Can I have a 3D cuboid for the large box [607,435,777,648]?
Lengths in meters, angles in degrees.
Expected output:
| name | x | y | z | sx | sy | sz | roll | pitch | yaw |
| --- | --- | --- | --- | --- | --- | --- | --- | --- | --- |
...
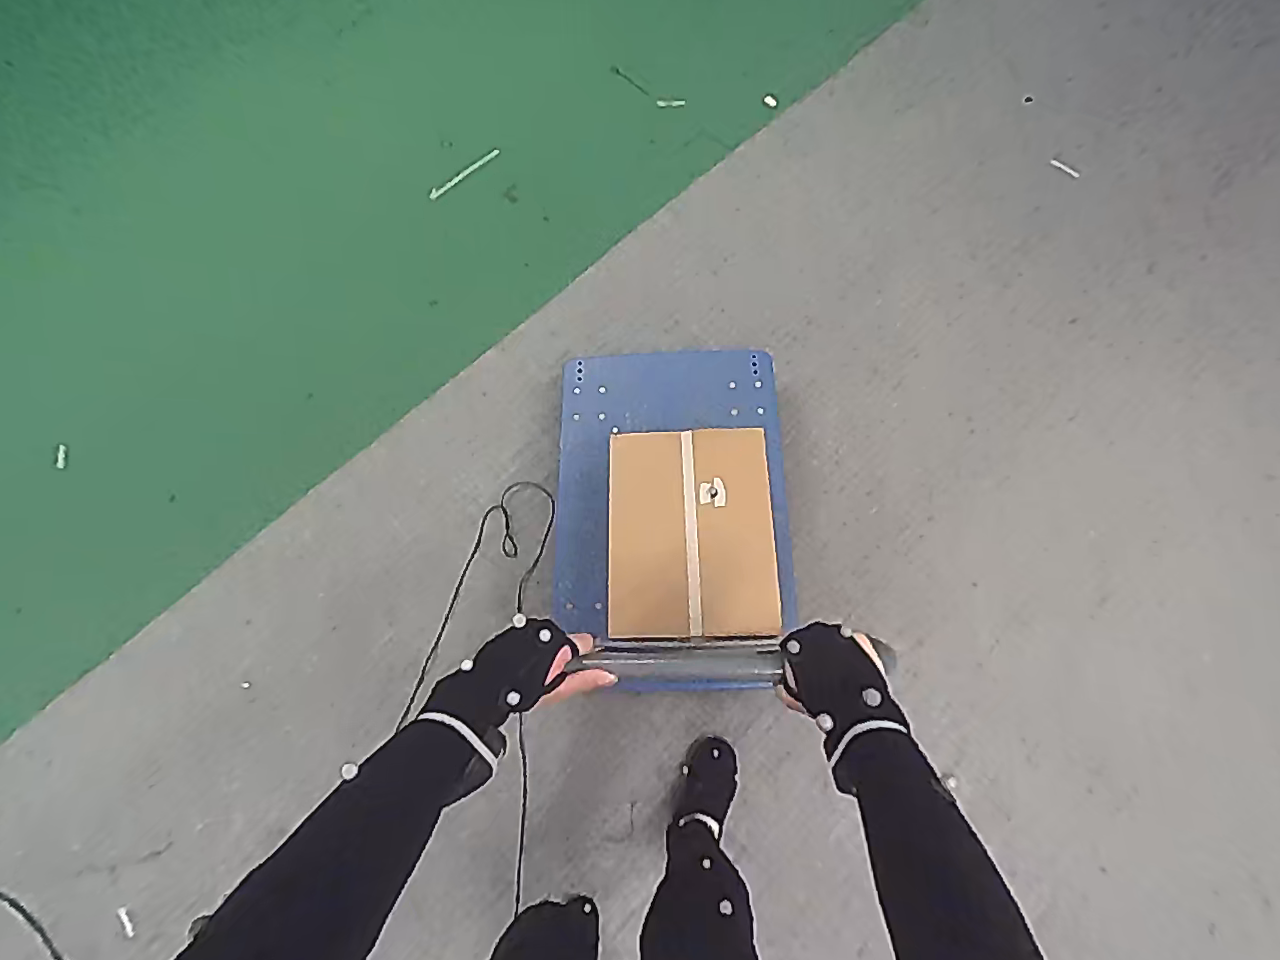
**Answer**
| name | x | y | z | sx | sy | sz | roll | pitch | yaw |
| --- | --- | --- | --- | --- | --- | --- | --- | --- | --- |
| large box | 0.102 | 0.150 | 1.191 | 0.320 | 0.320 | 0.408 | -1 | 70 | 3 |
